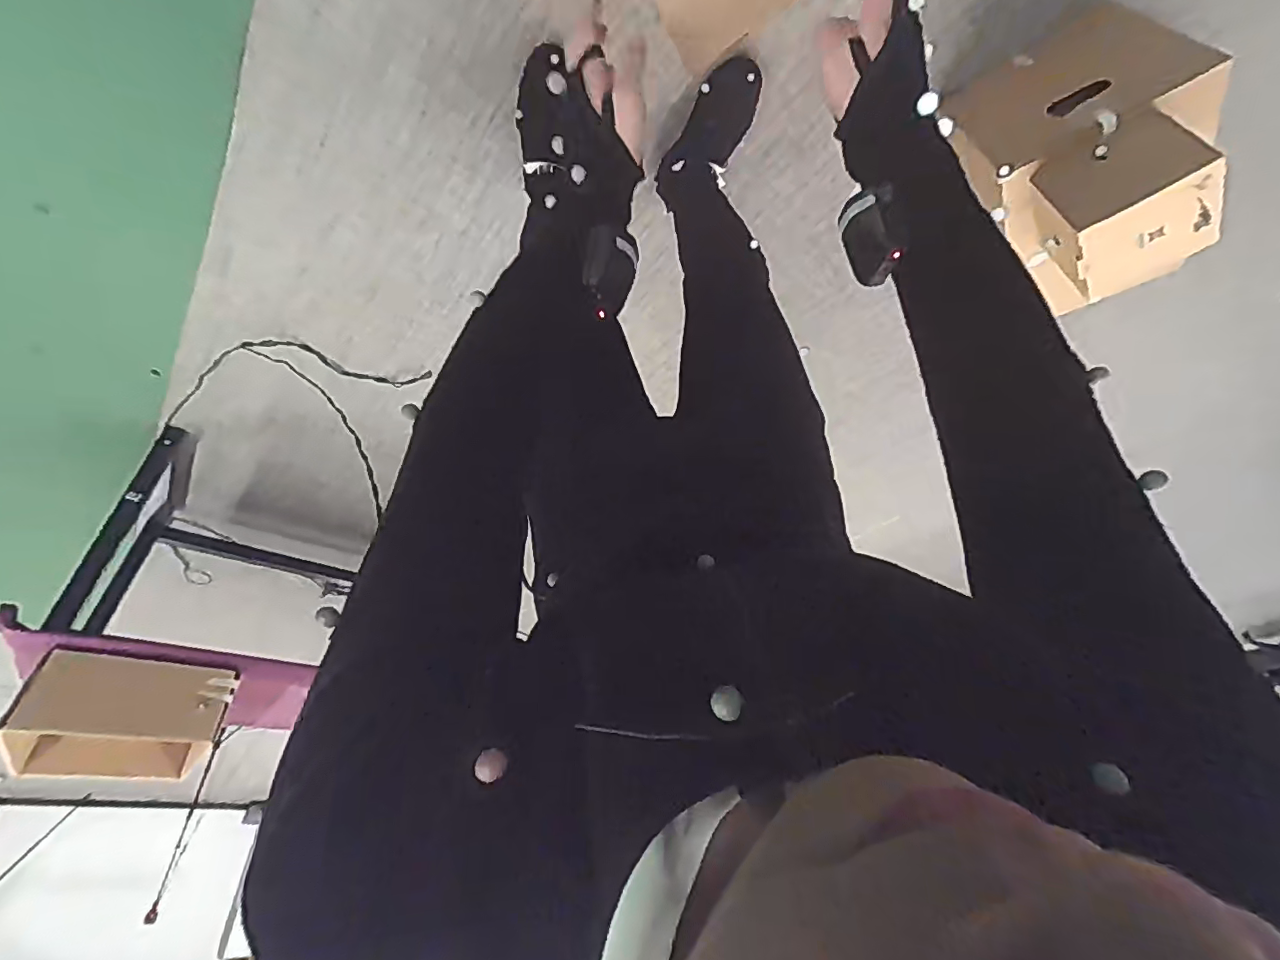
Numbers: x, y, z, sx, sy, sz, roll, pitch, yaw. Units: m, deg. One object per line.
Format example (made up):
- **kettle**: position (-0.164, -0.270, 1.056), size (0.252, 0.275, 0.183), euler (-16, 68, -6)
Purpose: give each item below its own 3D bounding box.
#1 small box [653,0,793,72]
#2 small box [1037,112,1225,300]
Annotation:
- **small box**: position (0.066, -0.511, 0.458), size (0.168, 0.176, 0.179), euler (-23, 139, 24)
- **small box**: position (0.779, -0.440, 0.877), size (0.179, 0.176, 0.168), euler (-26, 138, 30)
